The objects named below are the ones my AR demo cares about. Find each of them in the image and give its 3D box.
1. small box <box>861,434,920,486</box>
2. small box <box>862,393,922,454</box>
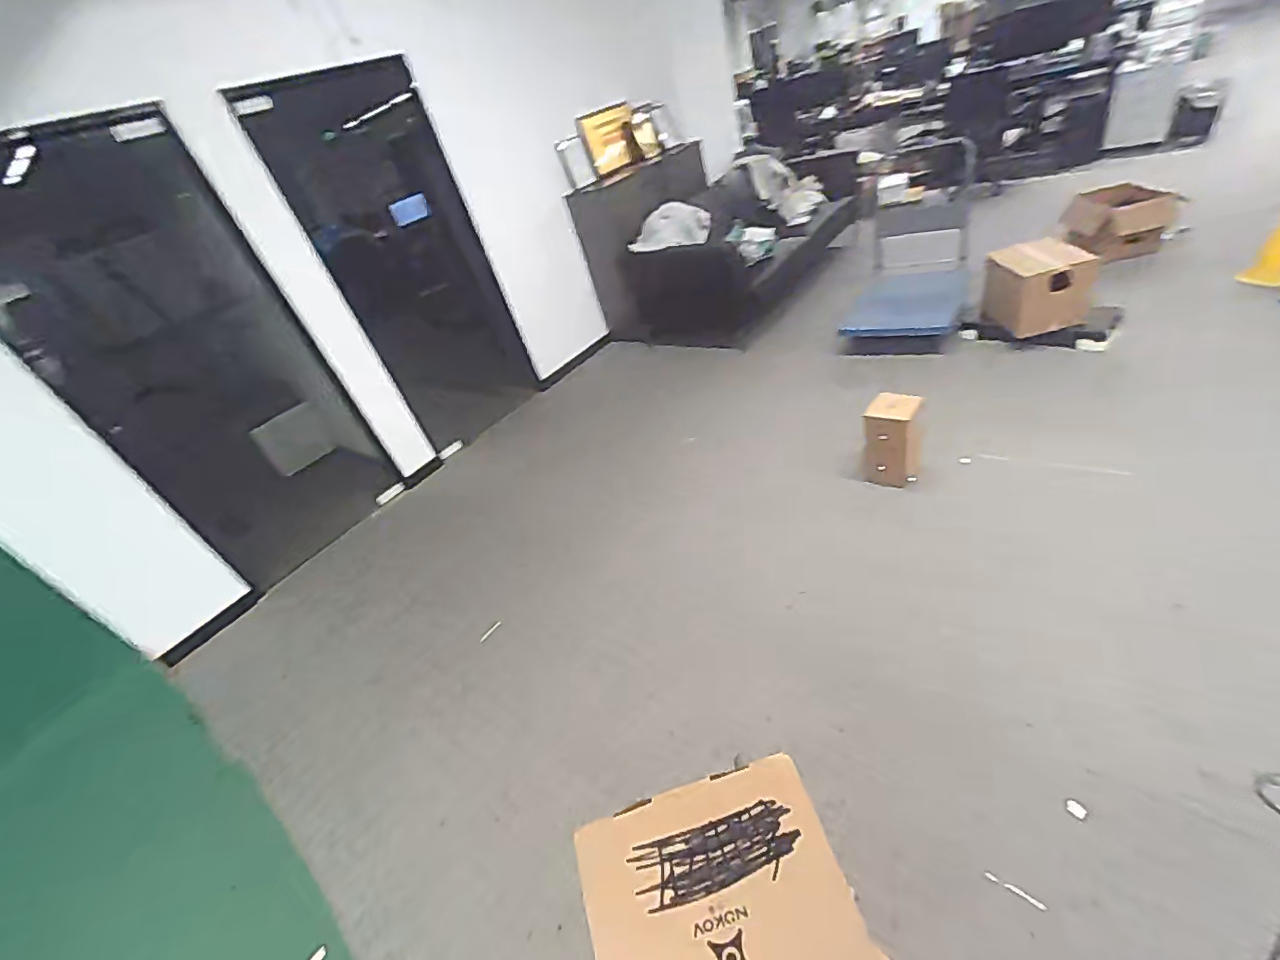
[{"bbox_3d":[1.035,-0.094,2.229,0.179,0.176,0.168,15,46,40],"label":"small box"},{"bbox_3d":[0.997,-0.223,2.133,0.168,0.176,0.179,16,47,39],"label":"small box"}]
